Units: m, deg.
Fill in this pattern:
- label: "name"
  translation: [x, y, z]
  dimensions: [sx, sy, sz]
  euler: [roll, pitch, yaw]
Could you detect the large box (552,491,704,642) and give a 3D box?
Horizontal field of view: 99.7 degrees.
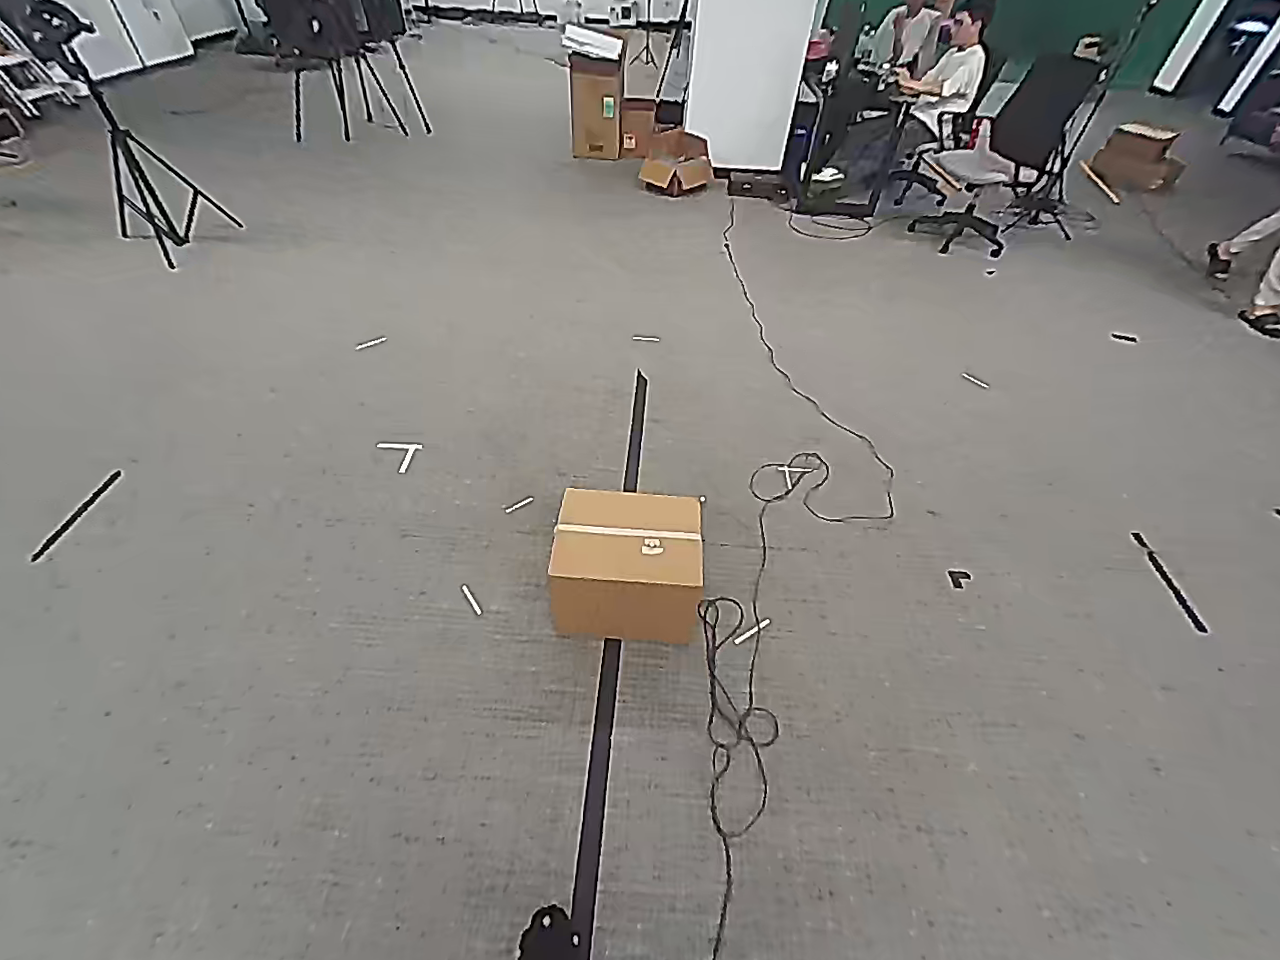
- label: "large box"
  translation: [-0.035, 0.258, 1.605]
  dimensions: [0.408, 0.320, 0.320]
  euler: [5, 46, 0]
